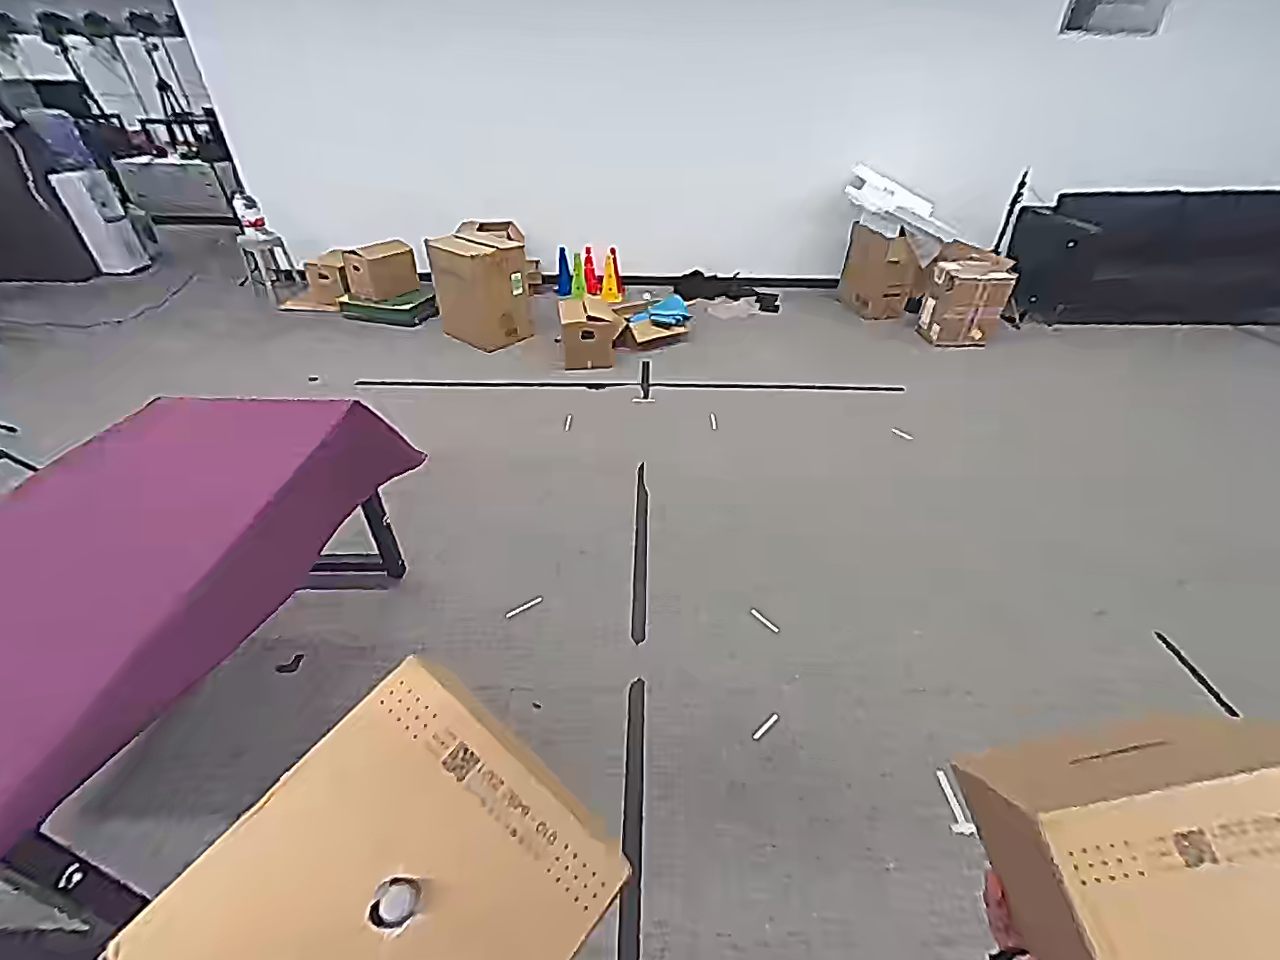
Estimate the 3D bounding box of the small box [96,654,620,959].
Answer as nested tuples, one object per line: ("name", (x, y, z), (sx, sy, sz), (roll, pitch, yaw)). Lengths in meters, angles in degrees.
("small box", (-0.131, 0.225, 0.323), (0.168, 0.179, 0.176), (41, 65, 7))
